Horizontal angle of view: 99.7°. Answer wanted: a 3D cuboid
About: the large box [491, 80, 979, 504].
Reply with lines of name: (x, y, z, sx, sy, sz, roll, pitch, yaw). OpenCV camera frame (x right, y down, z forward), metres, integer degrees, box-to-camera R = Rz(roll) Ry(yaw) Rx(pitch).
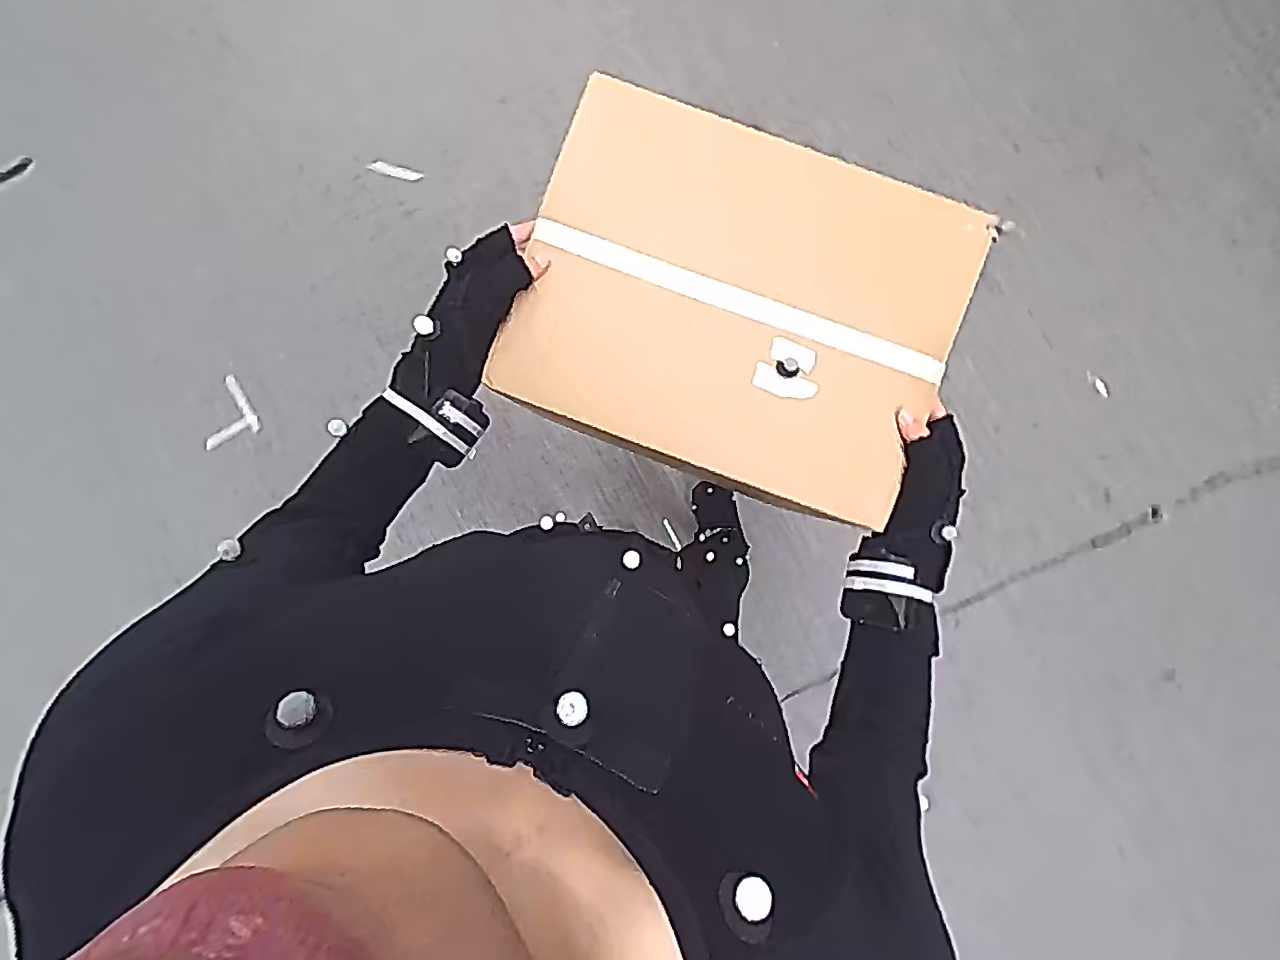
large box: (0.089, -0.180, 0.664, 0.408, 0.320, 0.320, 19, 91, 1)
